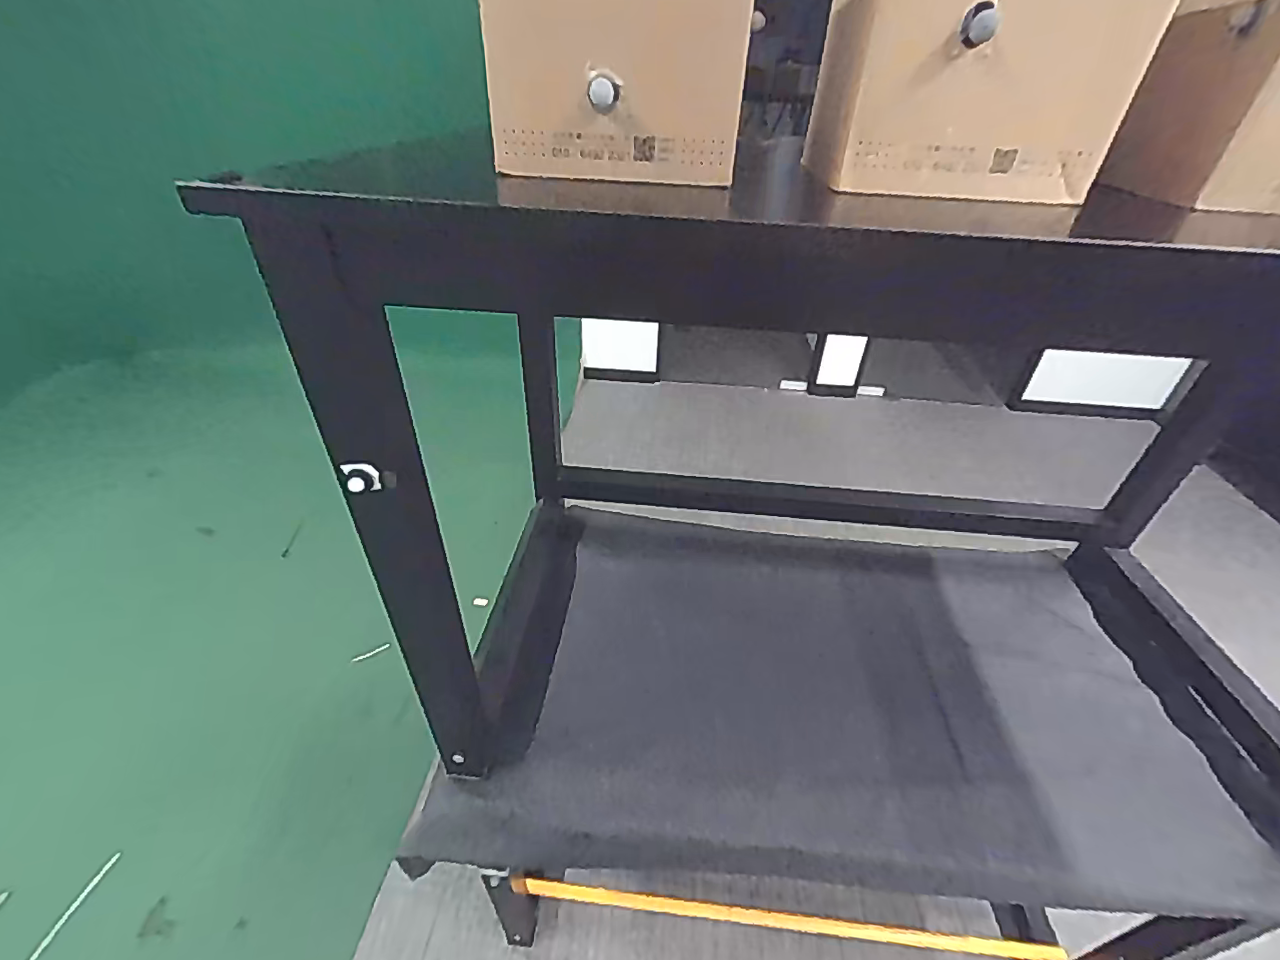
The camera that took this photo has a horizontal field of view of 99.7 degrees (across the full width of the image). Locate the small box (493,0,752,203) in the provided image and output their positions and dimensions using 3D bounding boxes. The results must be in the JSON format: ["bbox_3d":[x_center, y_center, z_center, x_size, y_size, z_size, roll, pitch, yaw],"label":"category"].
[{"bbox_3d":[-0.009,-0.322,0.409,0.168,0.176,0.179,4,37,2],"label":"small box"}]
